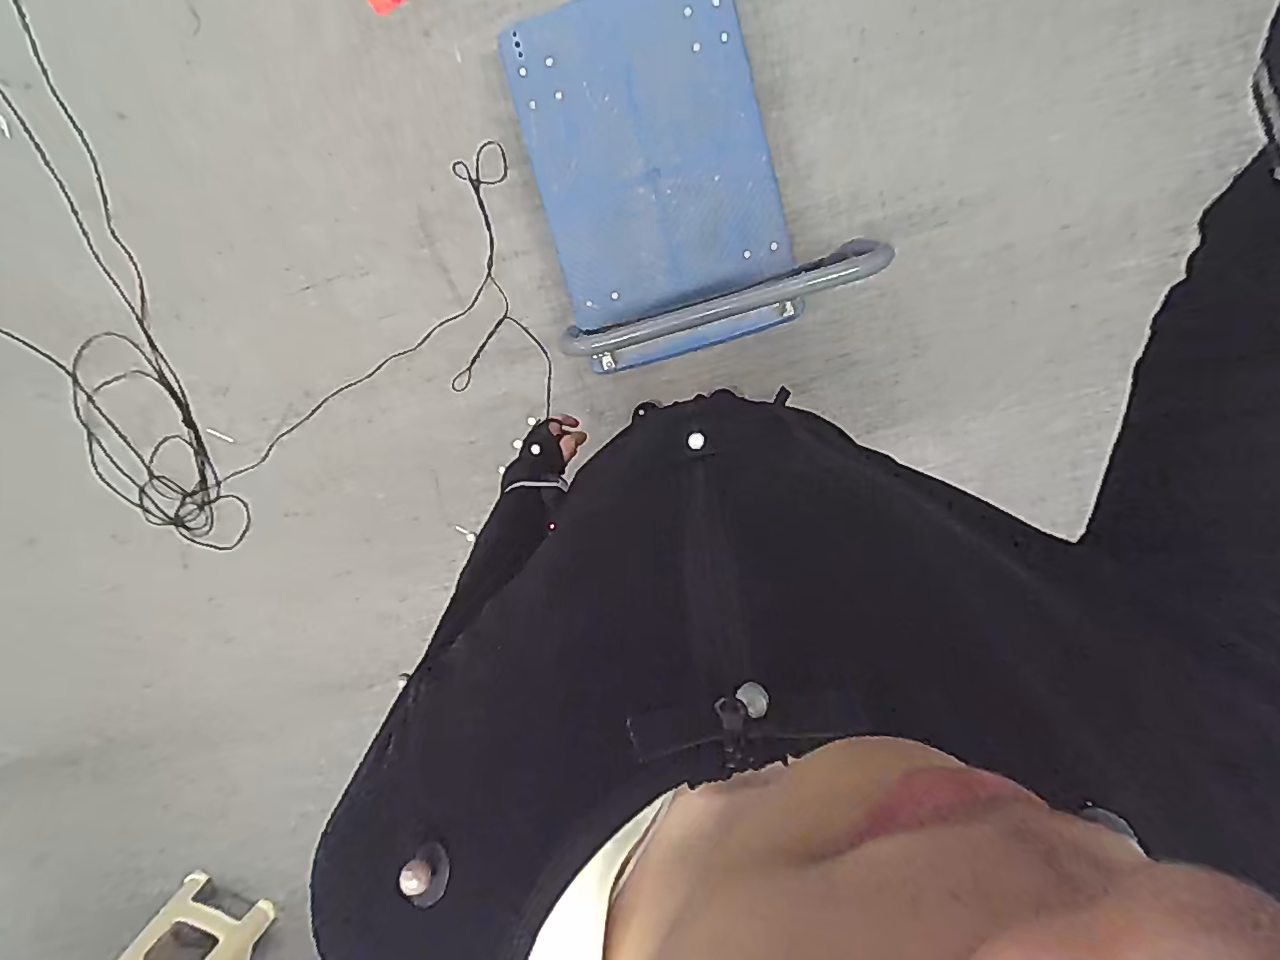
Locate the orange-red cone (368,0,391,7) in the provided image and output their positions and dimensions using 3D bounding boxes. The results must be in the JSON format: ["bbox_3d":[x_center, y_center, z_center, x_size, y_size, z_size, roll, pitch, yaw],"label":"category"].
[{"bbox_3d":[-0.710,-1.390,1.295,0.199,0.360,0.198,-30,95,9],"label":"orange-red cone"}]
